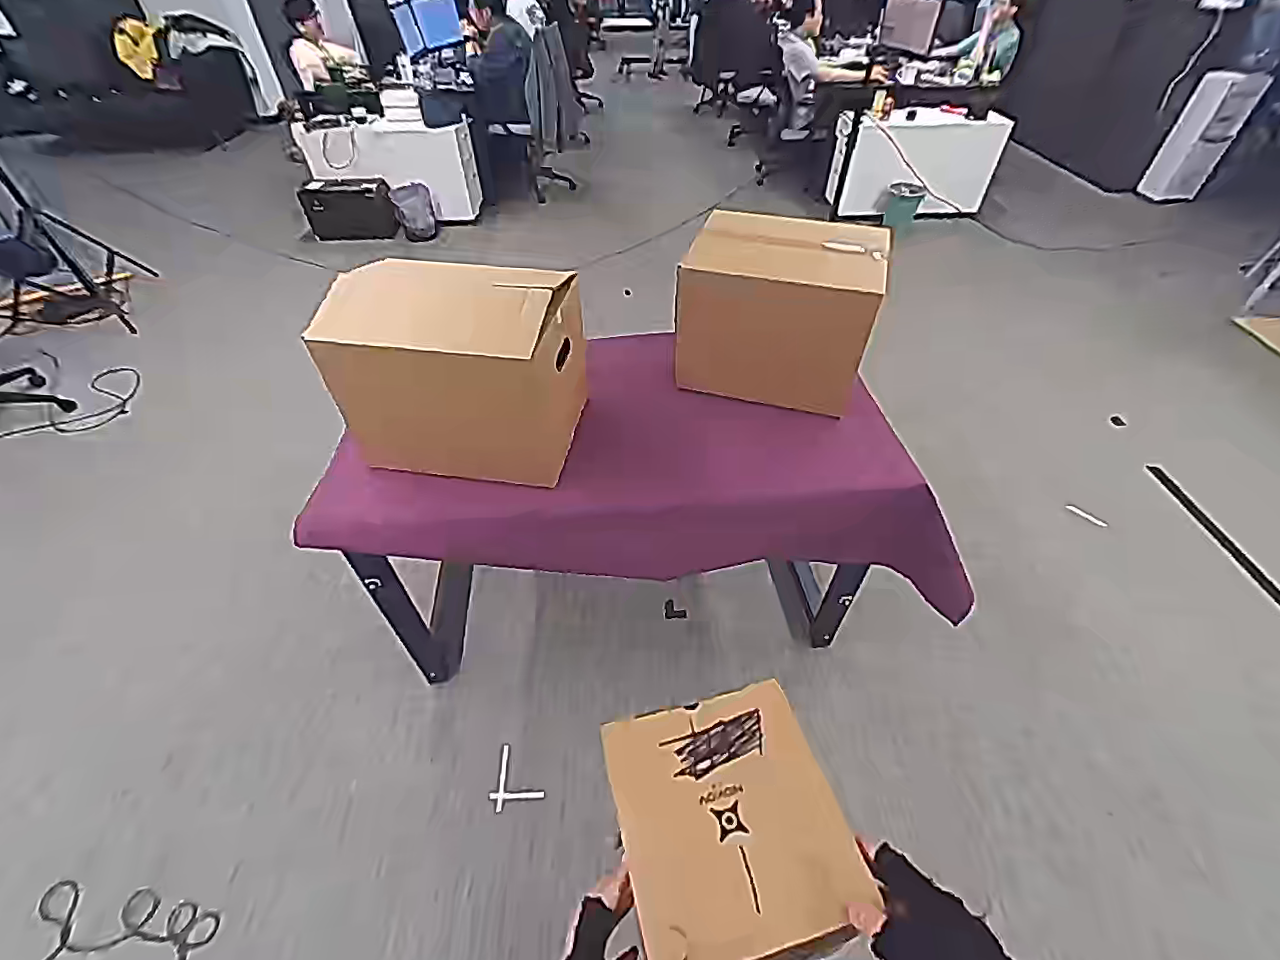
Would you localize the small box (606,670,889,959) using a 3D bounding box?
[{"bbox_3d":[0.070,0.299,0.460,0.168,0.176,0.179,-11,42,-10],"label":"small box"}]
